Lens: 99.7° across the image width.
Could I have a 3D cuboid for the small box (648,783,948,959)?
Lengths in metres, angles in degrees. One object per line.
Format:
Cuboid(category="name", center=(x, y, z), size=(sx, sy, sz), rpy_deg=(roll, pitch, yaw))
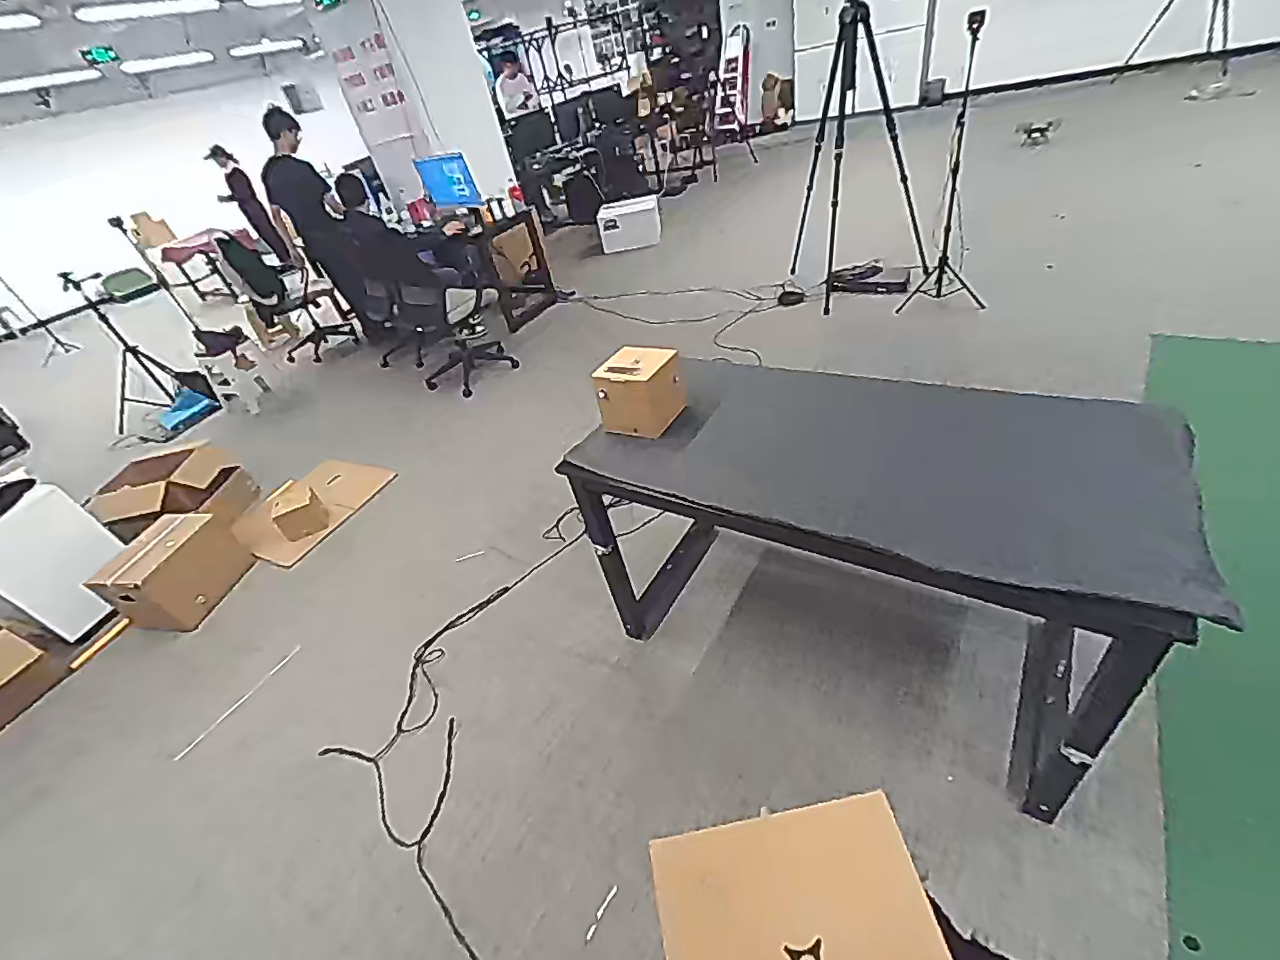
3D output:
Cuboid(category="small box", center=(0.109, 0.339, 0.375), size=(0.168, 0.176, 0.179), rpy_deg=(-14, 49, 1))
